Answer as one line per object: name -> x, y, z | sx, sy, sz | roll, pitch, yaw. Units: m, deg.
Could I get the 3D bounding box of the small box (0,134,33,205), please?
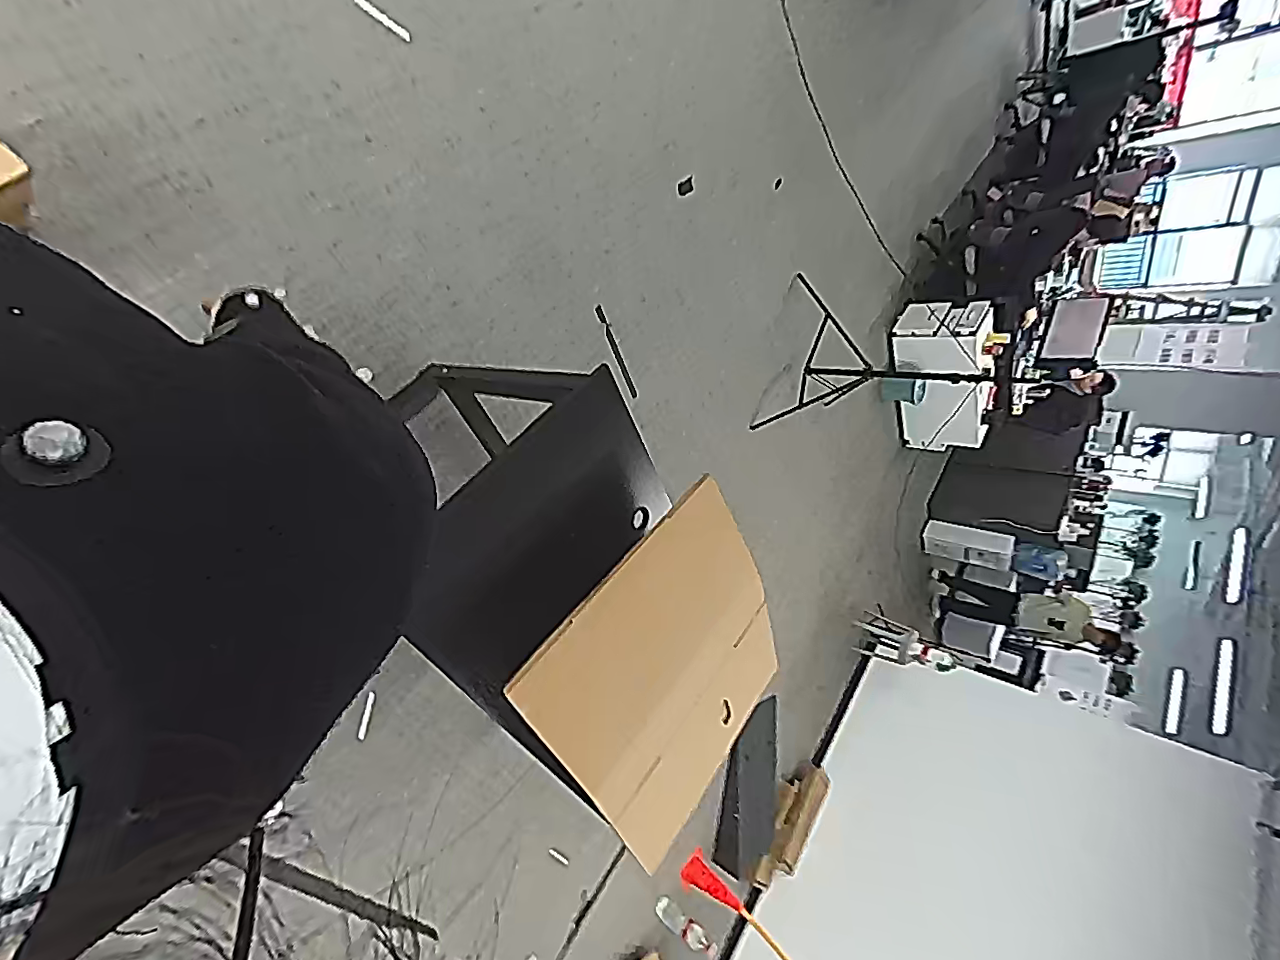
small box -> -0.885, -0.392, 0.628 | 0.179, 0.176, 0.168 | -54, 134, -25

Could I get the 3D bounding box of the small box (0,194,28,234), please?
small box -> -1.127, -0.452, 0.838 | 0.179, 0.176, 0.168 | -52, 133, -25
